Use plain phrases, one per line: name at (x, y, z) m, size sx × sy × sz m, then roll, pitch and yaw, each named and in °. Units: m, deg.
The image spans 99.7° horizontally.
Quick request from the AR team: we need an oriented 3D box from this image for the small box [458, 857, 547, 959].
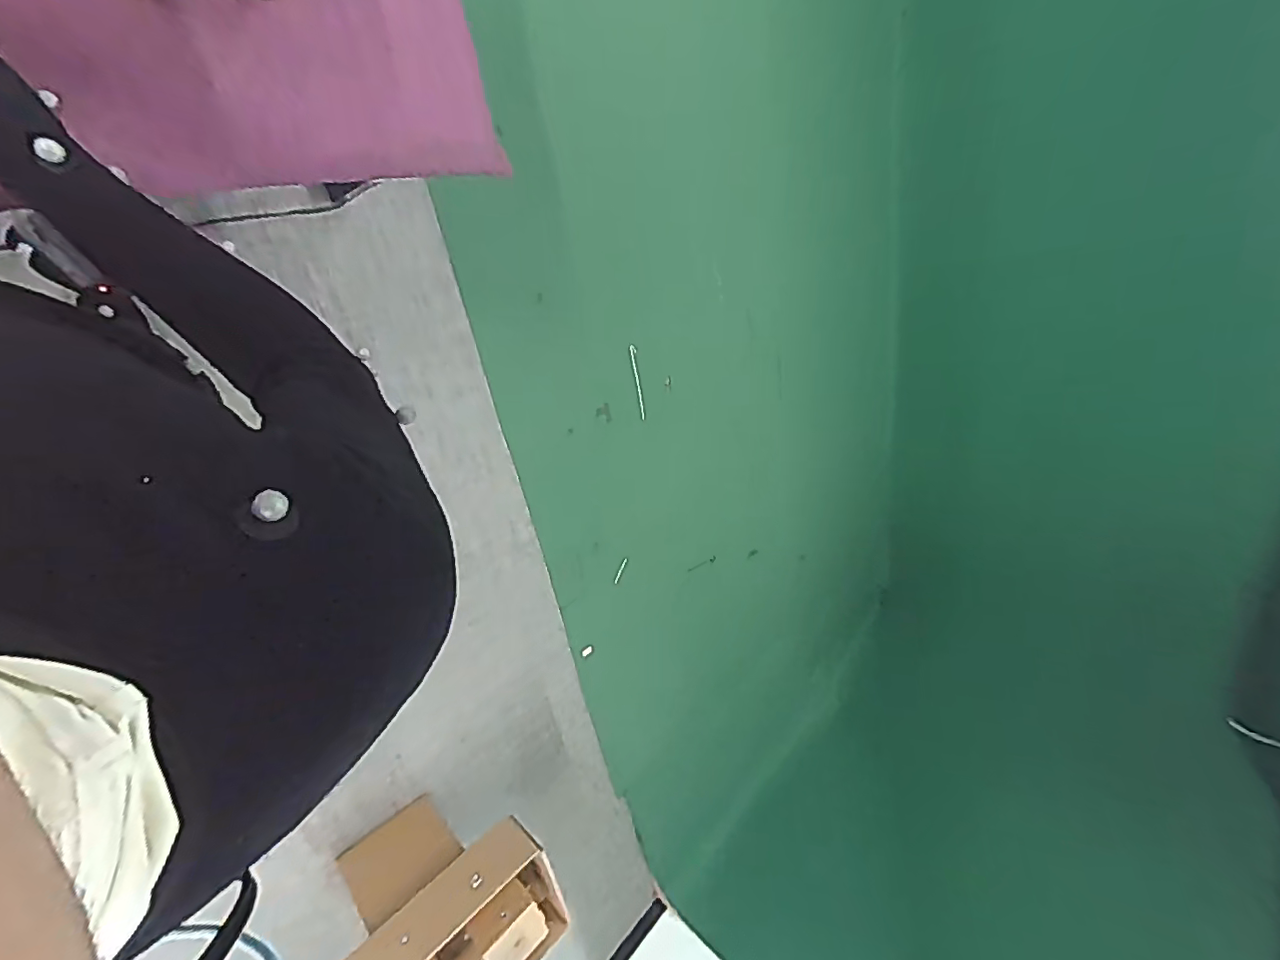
small box at (-0.408, 1.282, 1.606) m, size 0.179 × 0.176 × 0.168 m, roll -29°, pitch 120°, yaw -34°
